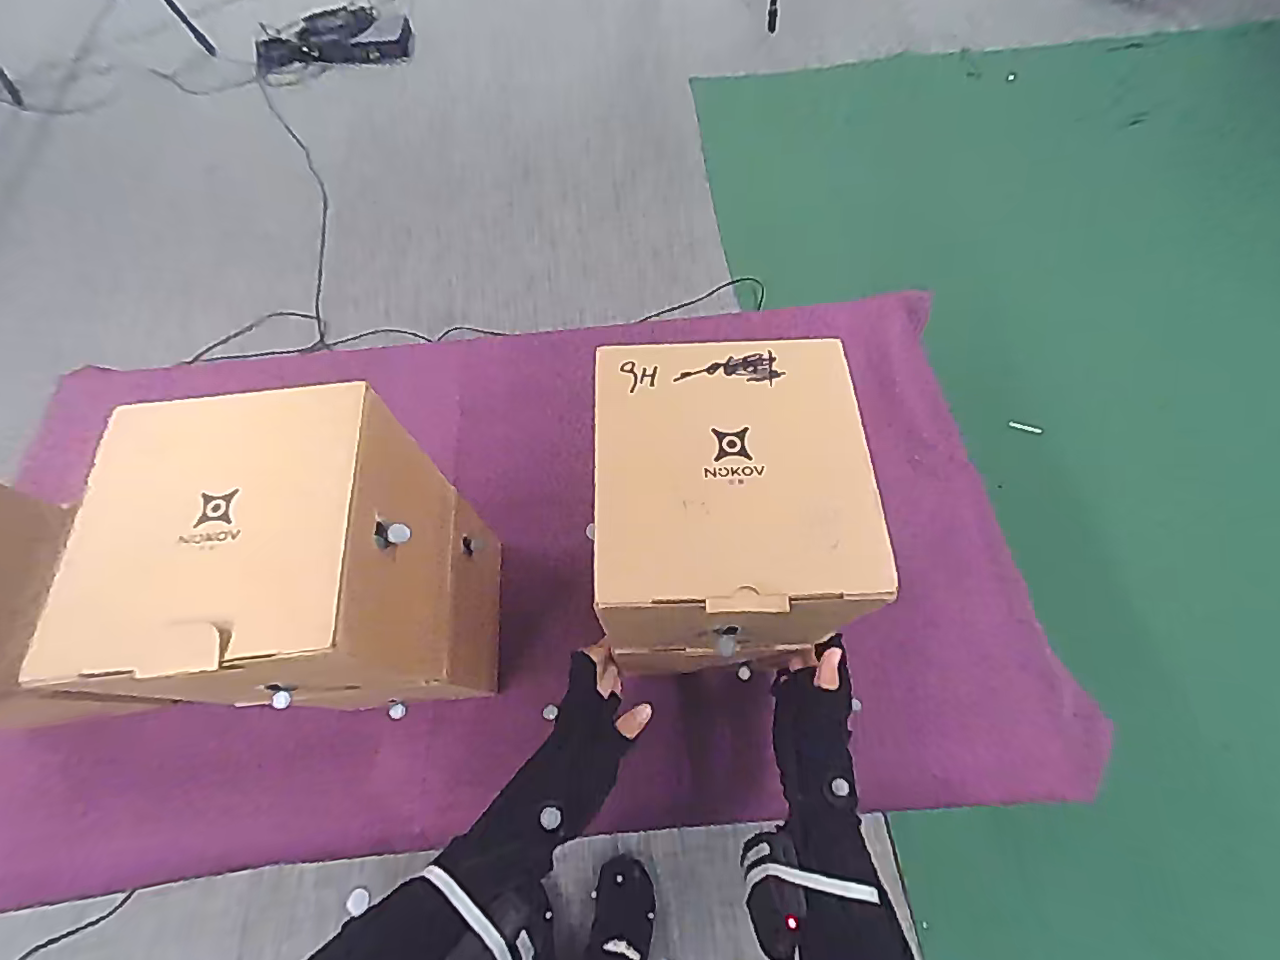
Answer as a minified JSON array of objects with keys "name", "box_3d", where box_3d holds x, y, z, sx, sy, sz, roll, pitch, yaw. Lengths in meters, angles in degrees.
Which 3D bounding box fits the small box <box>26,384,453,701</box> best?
[{"name":"small box","box_3d":[-0.245,0.055,0.390,0.168,0.176,0.179,-6,66,-1]}]

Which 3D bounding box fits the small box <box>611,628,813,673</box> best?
[{"name":"small box","box_3d":[0.061,0.096,0.541,0.168,0.176,0.179,-1,64,1]}]

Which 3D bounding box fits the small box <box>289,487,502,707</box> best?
[{"name":"small box","box_3d":[-0.240,0.123,0.537,0.168,0.176,0.179,-5,66,0]}]

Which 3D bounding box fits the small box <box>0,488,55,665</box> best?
[{"name":"small box","box_3d":[-0.599,0.075,0.386,0.168,0.176,0.179,-4,66,-2]}]

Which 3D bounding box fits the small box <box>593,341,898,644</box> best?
[{"name":"small box","box_3d":[0.058,0.022,0.394,0.168,0.176,0.179,-1,66,0]}]
